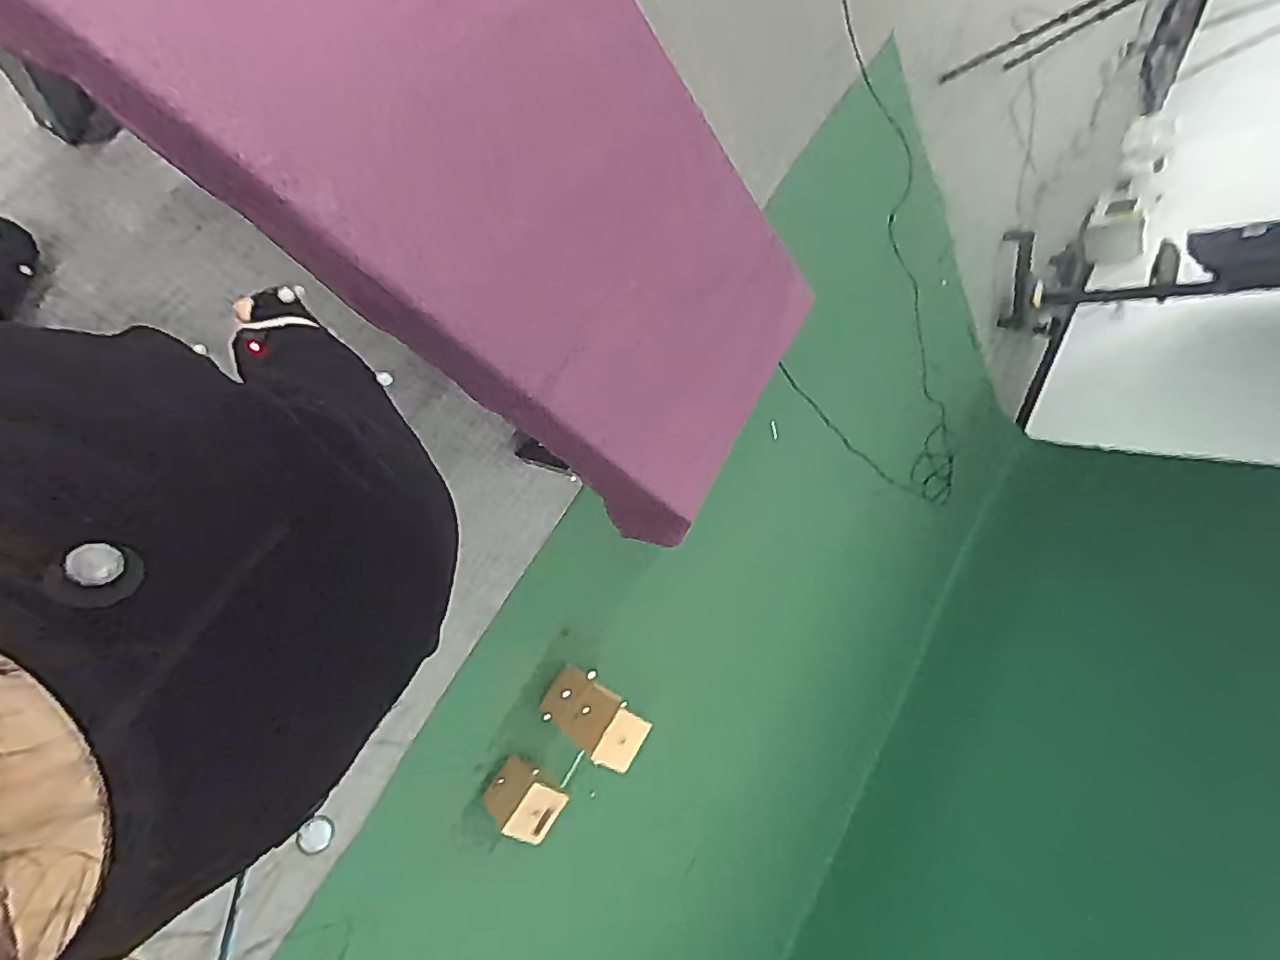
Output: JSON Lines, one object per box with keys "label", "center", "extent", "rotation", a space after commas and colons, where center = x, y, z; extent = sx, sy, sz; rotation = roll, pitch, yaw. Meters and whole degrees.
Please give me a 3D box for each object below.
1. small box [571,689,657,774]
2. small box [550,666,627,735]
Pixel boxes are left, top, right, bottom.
{"label": "small box", "center": [-0.086, 0.799, 1.730], "extent": [0.179, 0.176, 0.168], "rotation": [44, 71, -35]}
{"label": "small box", "center": [-0.185, 0.774, 1.858], "extent": [0.168, 0.176, 0.179], "rotation": [44, 71, -36]}
